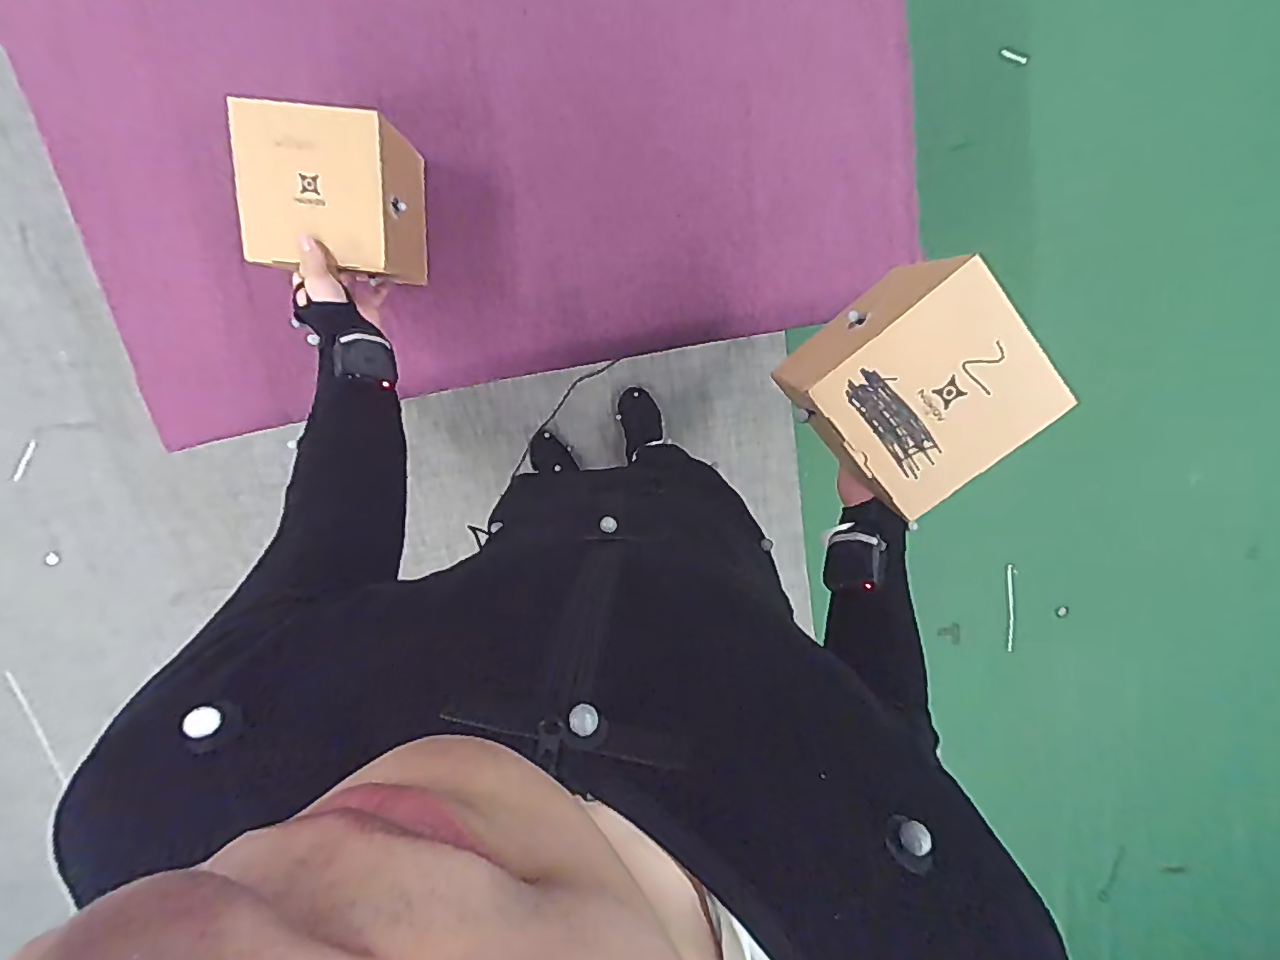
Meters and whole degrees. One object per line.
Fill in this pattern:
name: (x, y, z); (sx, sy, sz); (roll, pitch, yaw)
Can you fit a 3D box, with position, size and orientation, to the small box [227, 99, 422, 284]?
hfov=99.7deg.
small box: (-0.395, -0.360, 0.710); (0.168, 0.176, 0.179); (3, 104, -6)
